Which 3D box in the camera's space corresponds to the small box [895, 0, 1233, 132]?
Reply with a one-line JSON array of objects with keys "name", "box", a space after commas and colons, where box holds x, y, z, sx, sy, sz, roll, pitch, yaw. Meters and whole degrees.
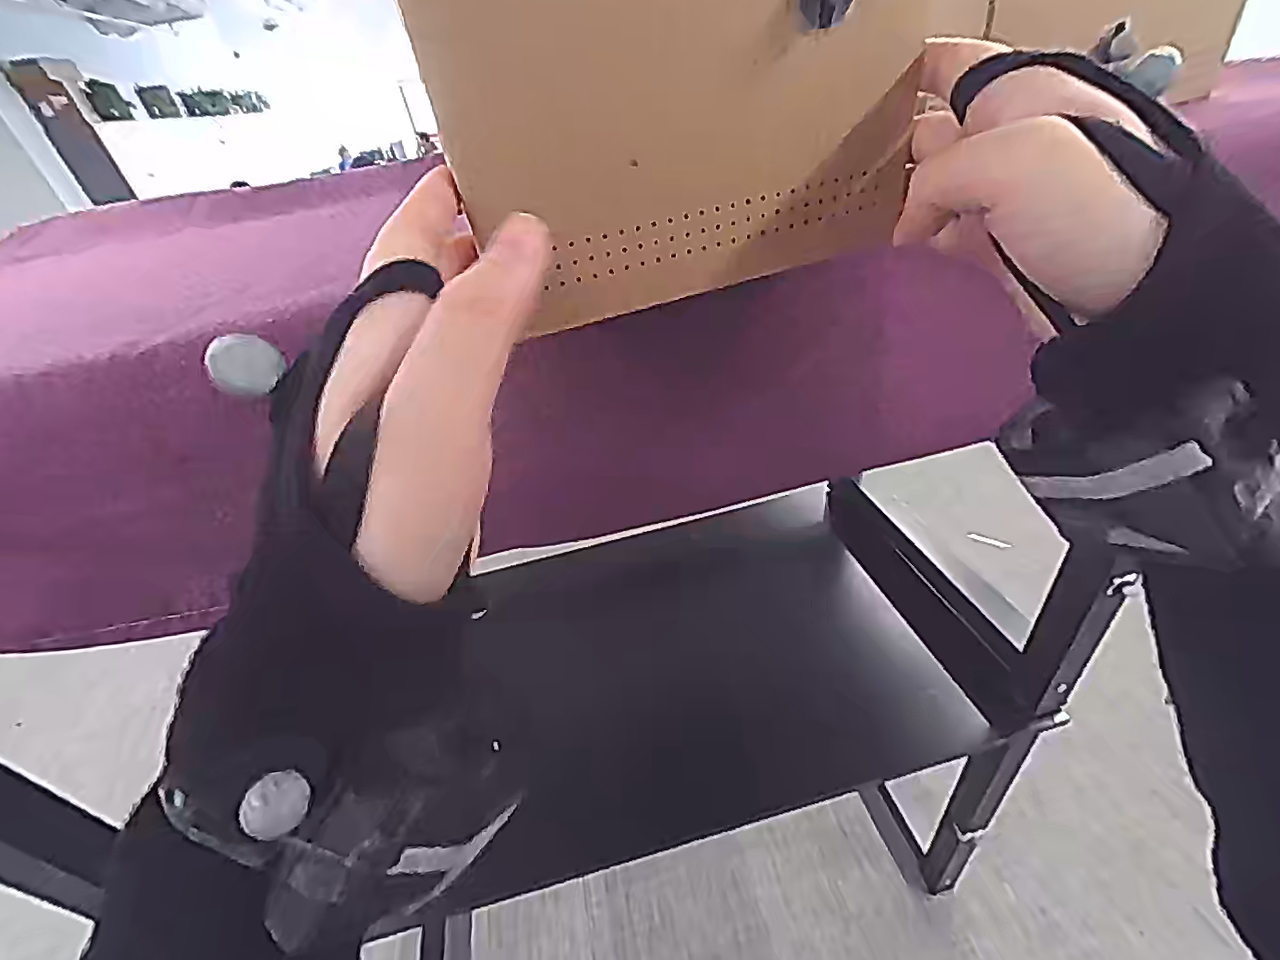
[{"name": "small box", "box": [0.280, -0.361, 0.378, 0.179, 0.176, 0.168, -11, 35, -1]}]

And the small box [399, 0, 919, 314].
[{"name": "small box", "box": [-0.005, -0.193, 0.228, 0.179, 0.176, 0.168, -18, 39, -8]}]
